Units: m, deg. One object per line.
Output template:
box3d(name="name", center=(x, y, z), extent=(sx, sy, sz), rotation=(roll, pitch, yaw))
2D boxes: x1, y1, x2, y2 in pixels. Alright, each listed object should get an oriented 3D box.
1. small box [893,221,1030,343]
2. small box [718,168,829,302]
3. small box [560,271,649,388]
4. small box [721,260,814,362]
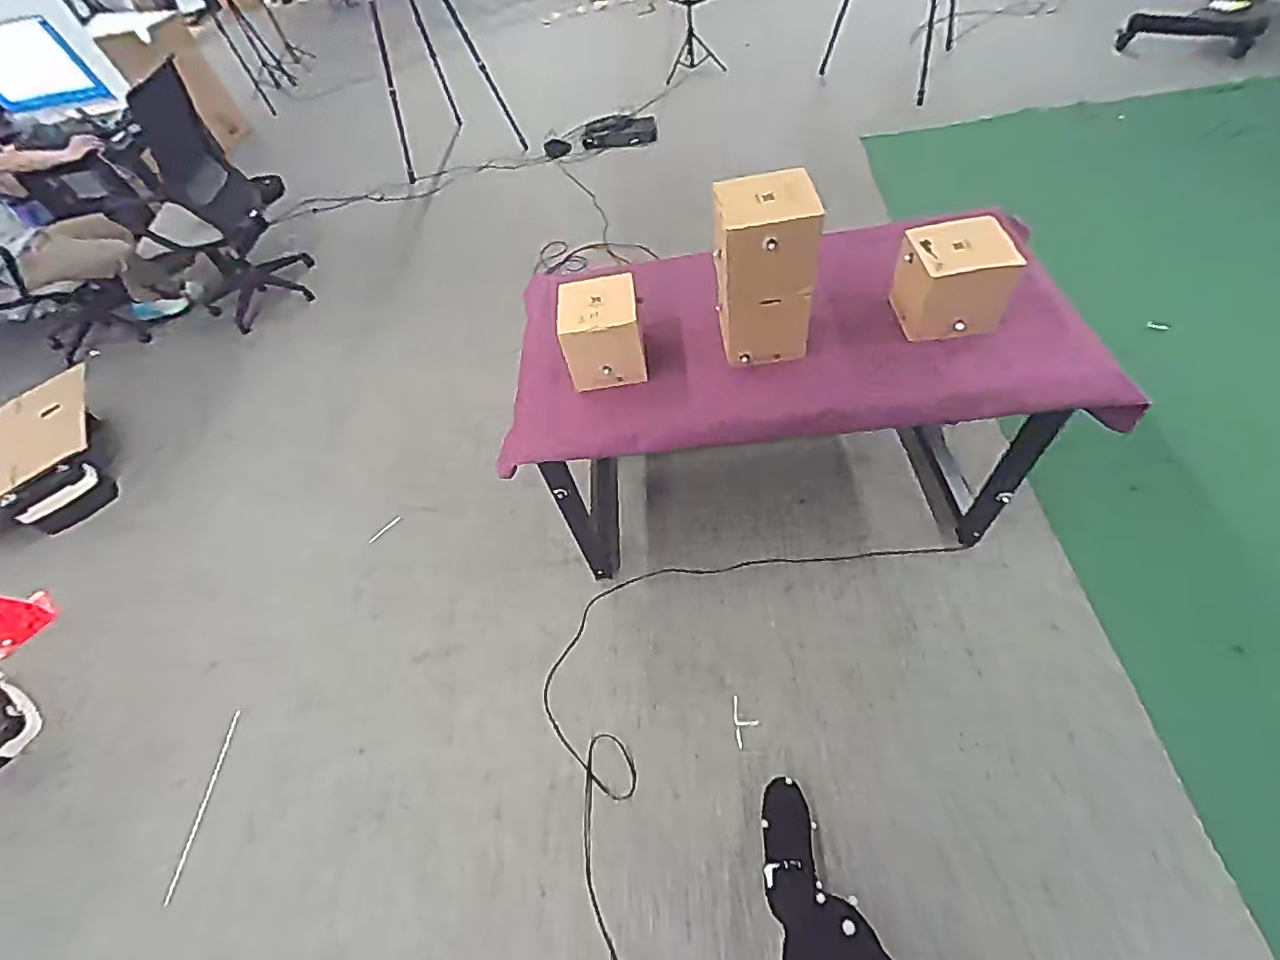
box3d(name="small box", center=(0.656, -0.408, 1.128), extent=(0.179, 0.176, 0.168), rotation=(-5, 54, 6))
box3d(name="small box", center=(0.246, -0.461, 1.035), extent=(0.179, 0.176, 0.168), rotation=(-6, 55, 5))
box3d(name="small box", center=(-0.074, -0.331, 1.198), extent=(0.168, 0.176, 0.179), rotation=(-7, 55, 5))
box3d(name="small box", center=(0.269, -0.371, 1.169), extent=(0.168, 0.176, 0.179), rotation=(-6, 54, 5))
